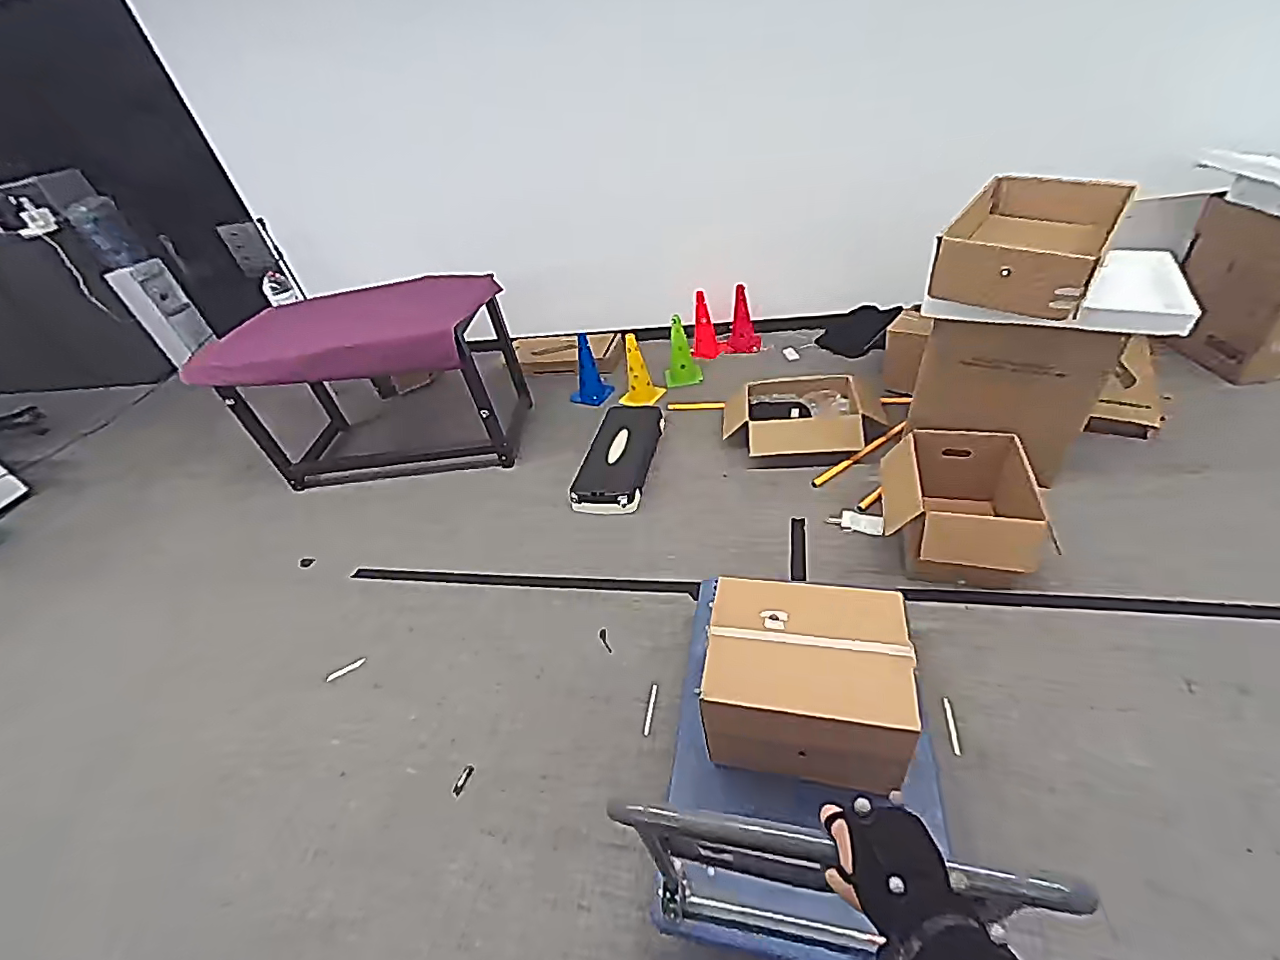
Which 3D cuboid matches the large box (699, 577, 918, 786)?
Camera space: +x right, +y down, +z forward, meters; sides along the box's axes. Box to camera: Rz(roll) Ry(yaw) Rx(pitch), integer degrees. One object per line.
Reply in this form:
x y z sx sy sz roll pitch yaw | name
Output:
0.366 0.444 1.216 0.408 0.320 0.320 1 40 17 | large box
